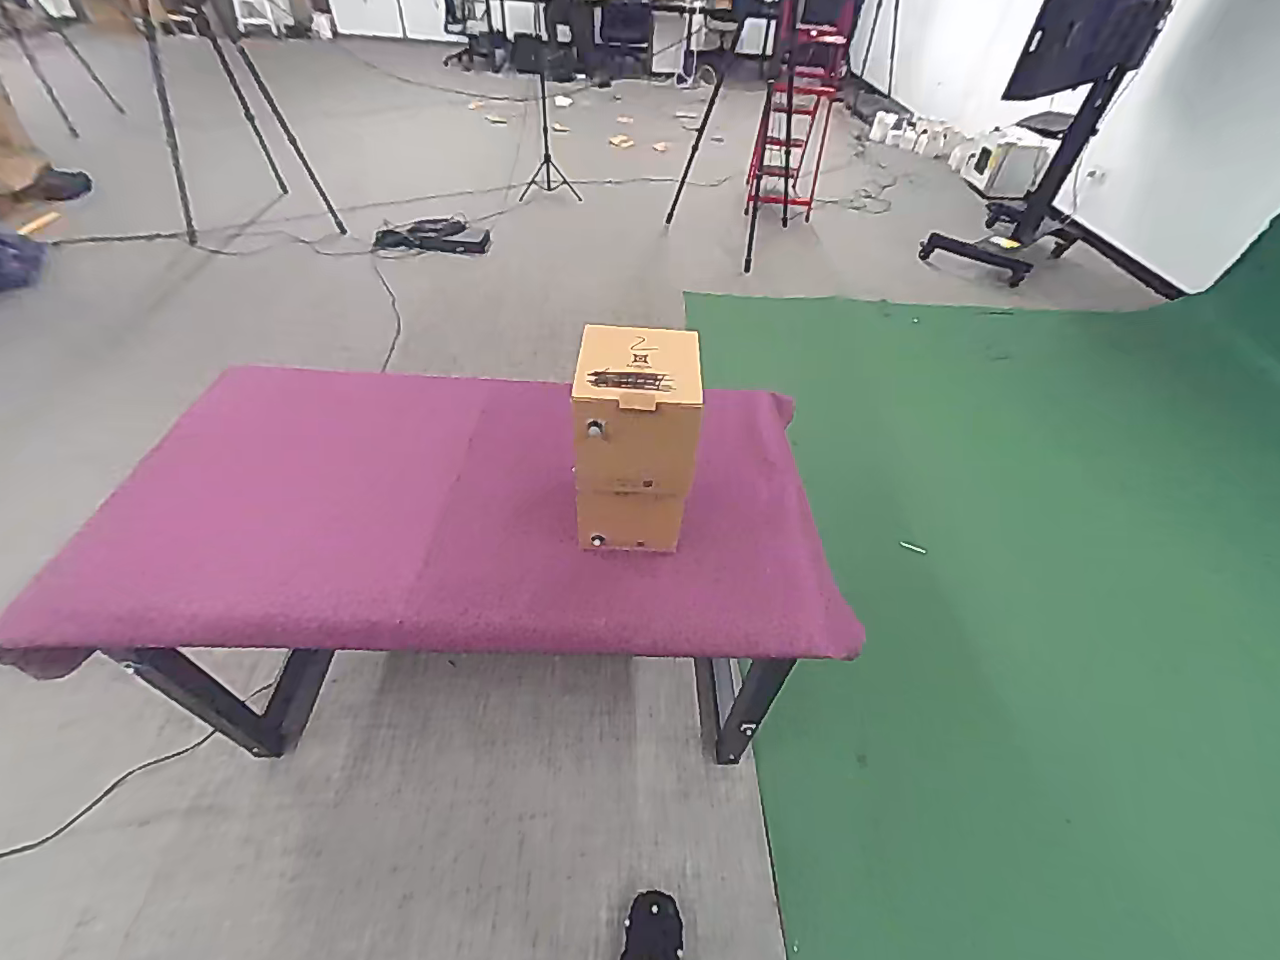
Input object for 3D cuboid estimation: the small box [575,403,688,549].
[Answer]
[{"bbox_3d":[-0.013,-0.003,0.903,0.168,0.176,0.179,6,47,-1],"label":"small box"}]
